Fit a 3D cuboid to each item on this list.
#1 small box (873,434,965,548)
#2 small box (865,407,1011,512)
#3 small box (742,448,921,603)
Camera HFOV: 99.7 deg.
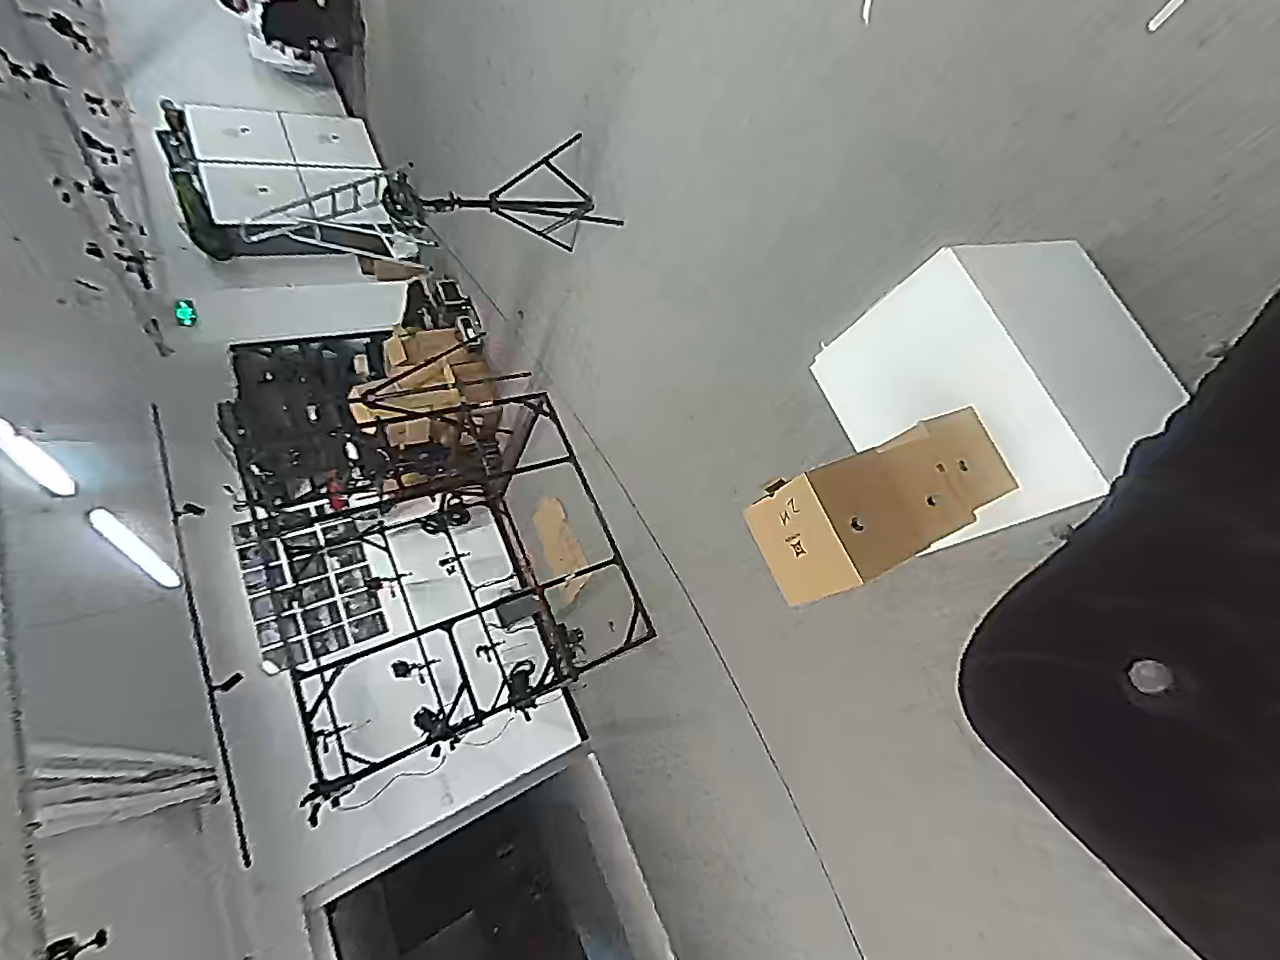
[{"bbox_3d":[0.432,0.036,0.951,0.179,0.176,0.168,-40,70,58],"label":"small box"},{"bbox_3d":[0.560,-0.019,1.036,0.168,0.176,0.179,-42,67,57],"label":"small box"},{"bbox_3d":[0.301,0.071,0.856,0.168,0.176,0.179,-44,66,56],"label":"small box"}]
